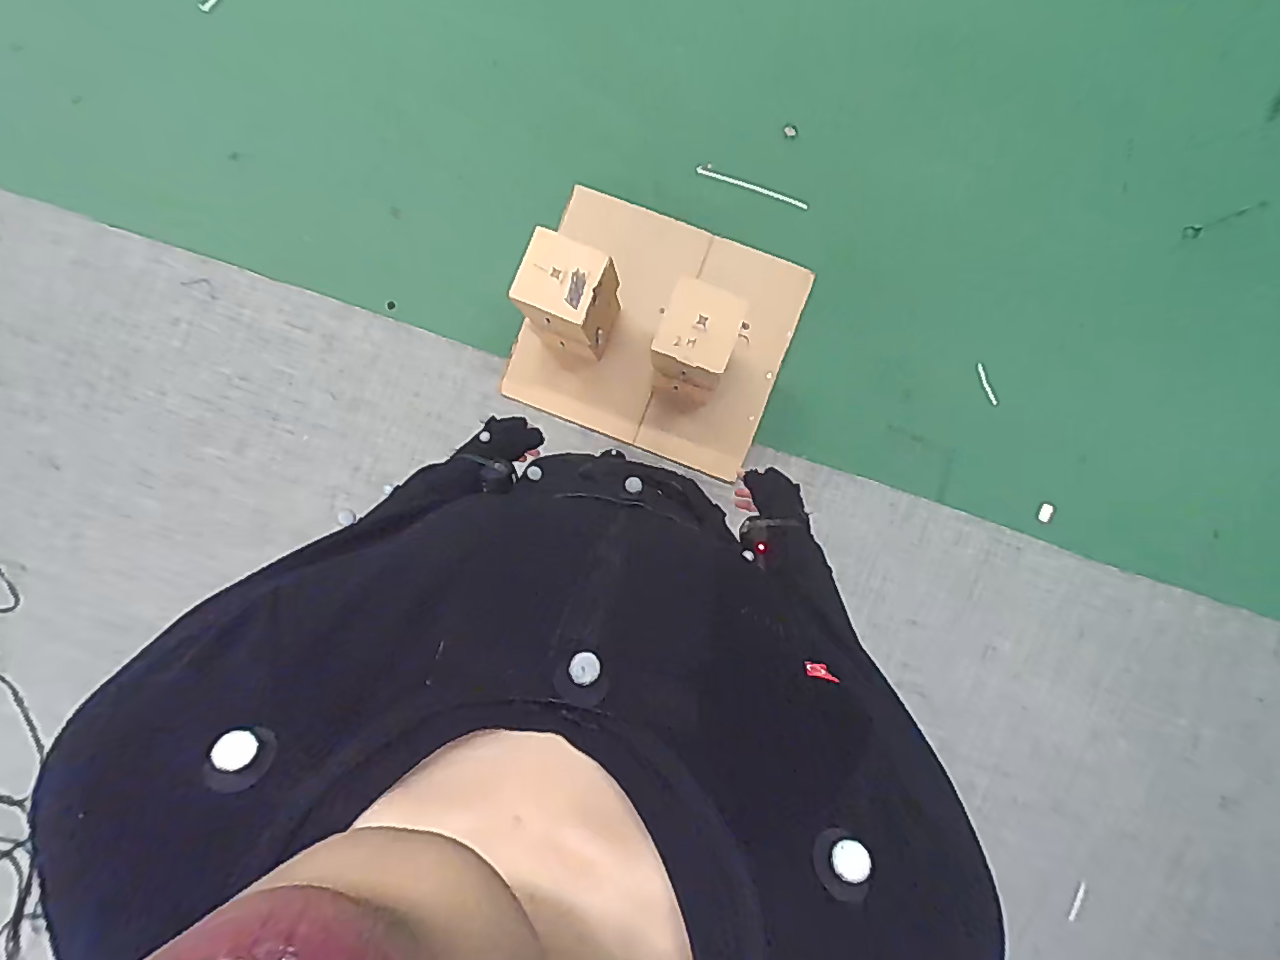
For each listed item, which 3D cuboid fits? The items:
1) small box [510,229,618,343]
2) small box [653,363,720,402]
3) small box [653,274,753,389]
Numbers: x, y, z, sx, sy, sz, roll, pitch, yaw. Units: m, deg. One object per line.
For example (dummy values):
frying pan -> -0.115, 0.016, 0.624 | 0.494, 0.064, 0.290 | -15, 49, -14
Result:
small box -> -0.161, -0.427, 1.222 | 0.179, 0.176, 0.168 | 24, 91, 5
small box -> 0.137, -0.313, 1.377 | 0.168, 0.176, 0.179 | 19, 92, 2
small box -> 0.134, -0.324, 1.211 | 0.168, 0.176, 0.179 | 22, 91, 3
